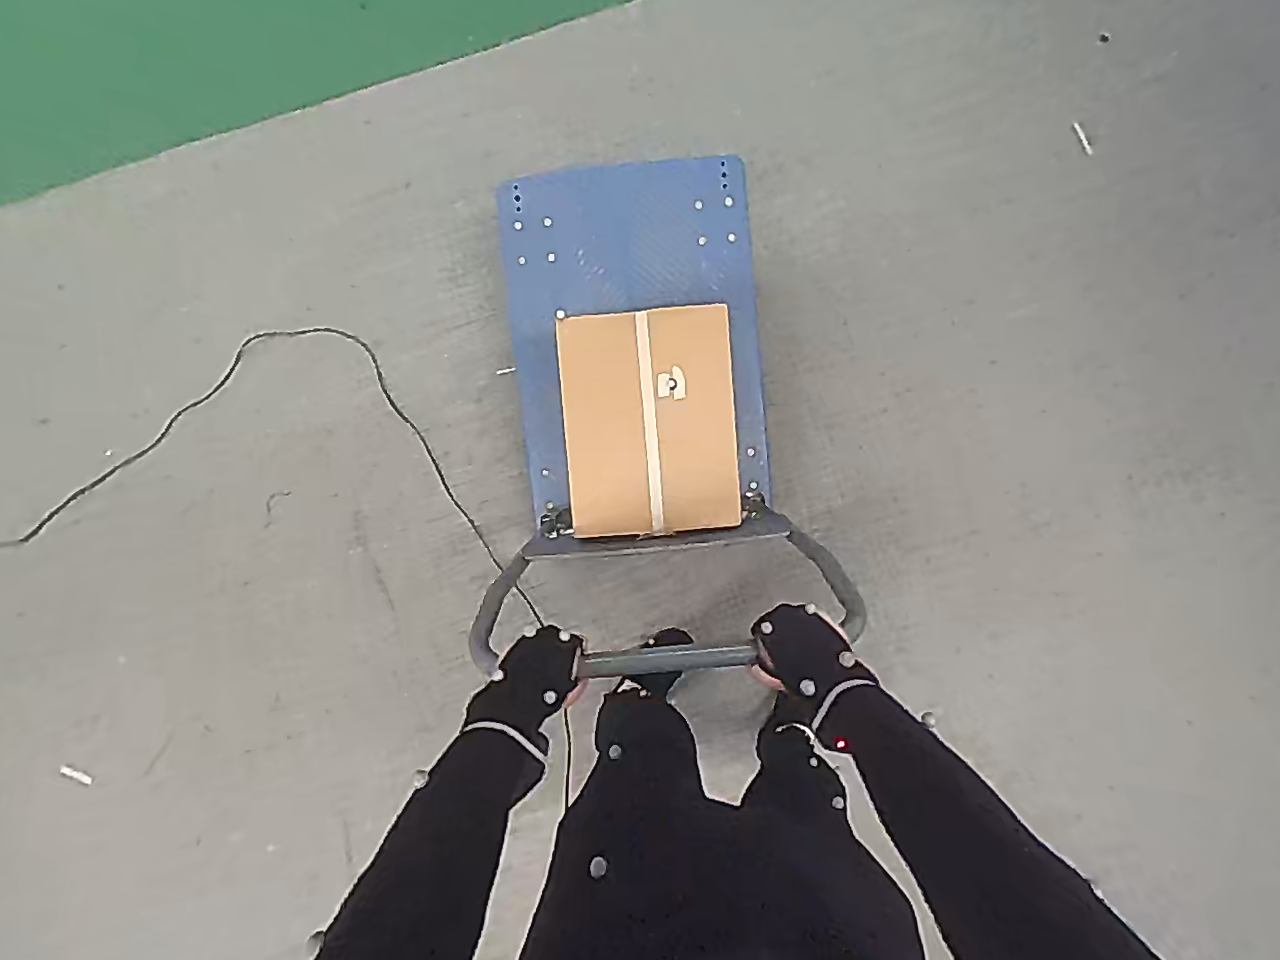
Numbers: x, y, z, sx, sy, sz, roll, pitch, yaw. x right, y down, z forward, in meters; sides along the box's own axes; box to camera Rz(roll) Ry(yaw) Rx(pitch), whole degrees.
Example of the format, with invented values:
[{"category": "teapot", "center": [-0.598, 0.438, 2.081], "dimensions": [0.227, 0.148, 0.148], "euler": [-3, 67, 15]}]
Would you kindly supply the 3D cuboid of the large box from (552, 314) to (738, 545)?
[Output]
[{"category": "large box", "center": [0.015, -0.097, 1.139], "dimensions": [0.320, 0.320, 0.408], "euler": [-5, 93, 1]}]
